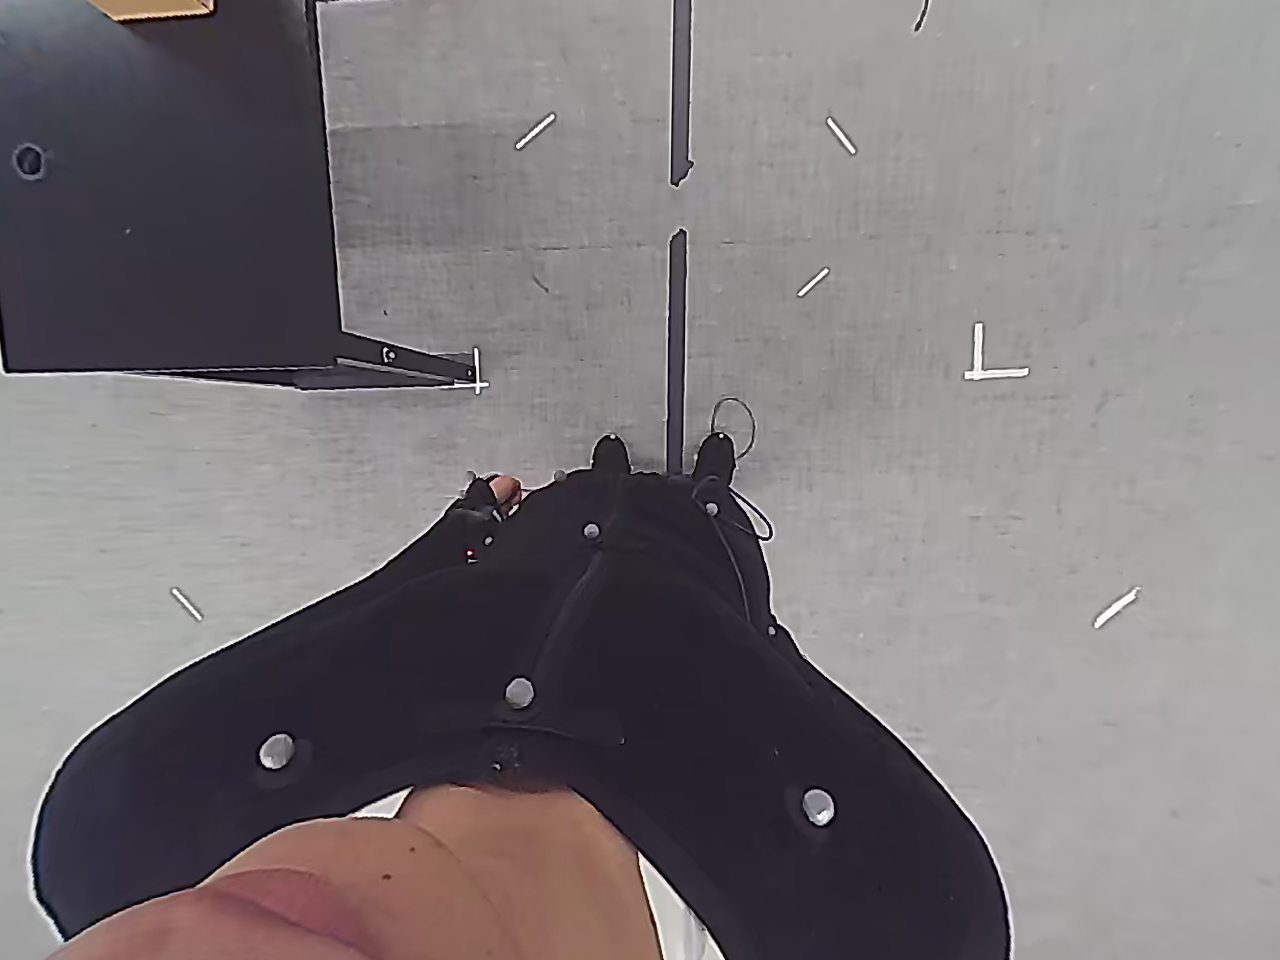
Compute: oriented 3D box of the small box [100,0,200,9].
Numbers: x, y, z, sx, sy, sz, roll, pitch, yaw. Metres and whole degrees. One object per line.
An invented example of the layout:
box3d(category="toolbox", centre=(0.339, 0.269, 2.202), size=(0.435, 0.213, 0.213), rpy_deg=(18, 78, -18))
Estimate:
box3d(category="small box", centre=(-0.770, -0.819, 0.769), size=(0.179, 0.176, 0.168), rpy_deg=(-1, 97, 3))
